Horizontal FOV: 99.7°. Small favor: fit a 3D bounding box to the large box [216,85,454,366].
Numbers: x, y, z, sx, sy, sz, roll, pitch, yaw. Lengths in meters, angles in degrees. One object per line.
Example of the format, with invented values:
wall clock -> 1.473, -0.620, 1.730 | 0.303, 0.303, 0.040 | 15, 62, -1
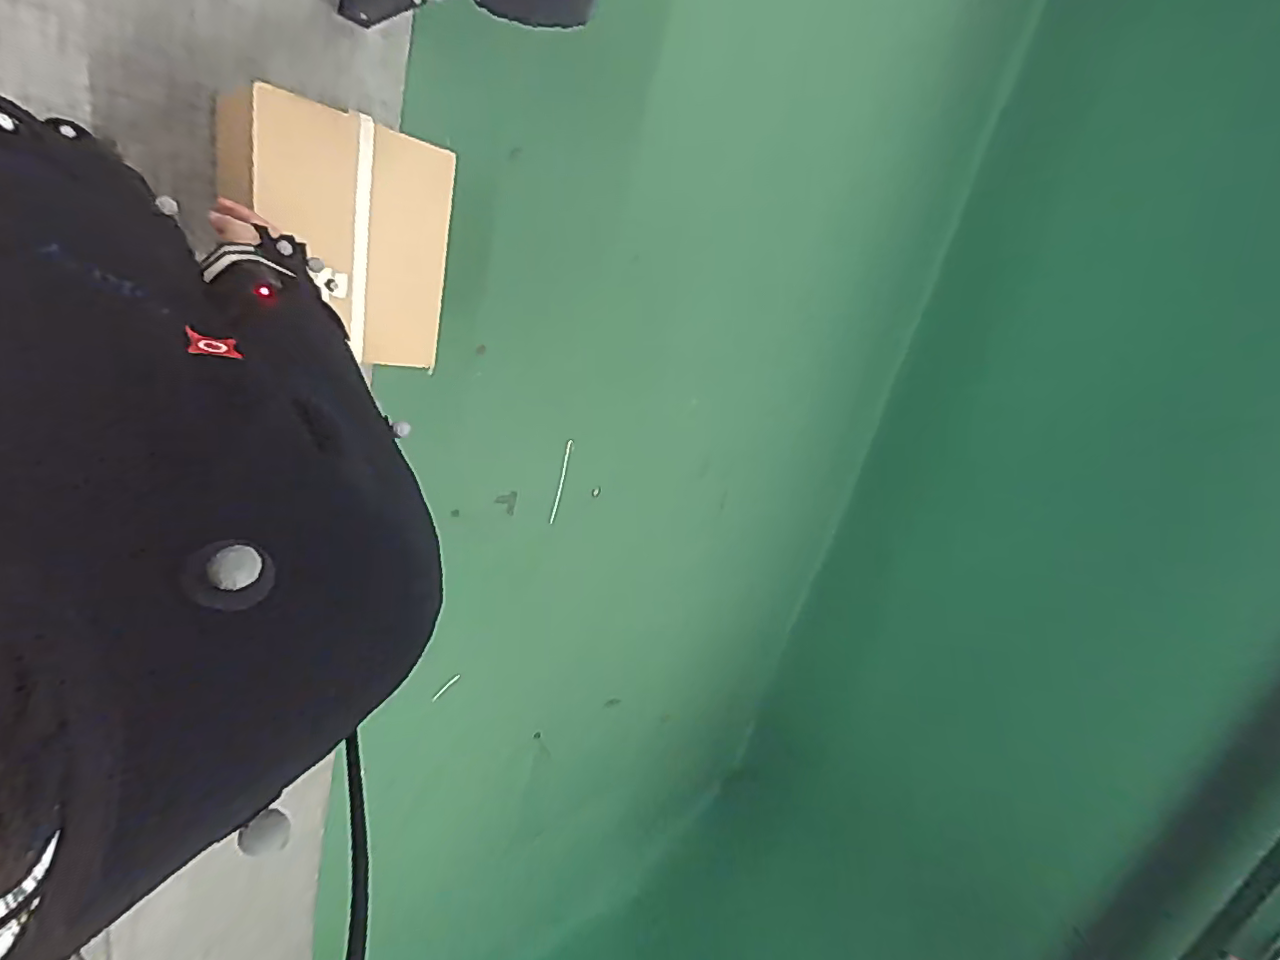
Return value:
large box -> -0.588, -0.463, 1.040 | 0.320, 0.320, 0.408 | -6, 117, -44
